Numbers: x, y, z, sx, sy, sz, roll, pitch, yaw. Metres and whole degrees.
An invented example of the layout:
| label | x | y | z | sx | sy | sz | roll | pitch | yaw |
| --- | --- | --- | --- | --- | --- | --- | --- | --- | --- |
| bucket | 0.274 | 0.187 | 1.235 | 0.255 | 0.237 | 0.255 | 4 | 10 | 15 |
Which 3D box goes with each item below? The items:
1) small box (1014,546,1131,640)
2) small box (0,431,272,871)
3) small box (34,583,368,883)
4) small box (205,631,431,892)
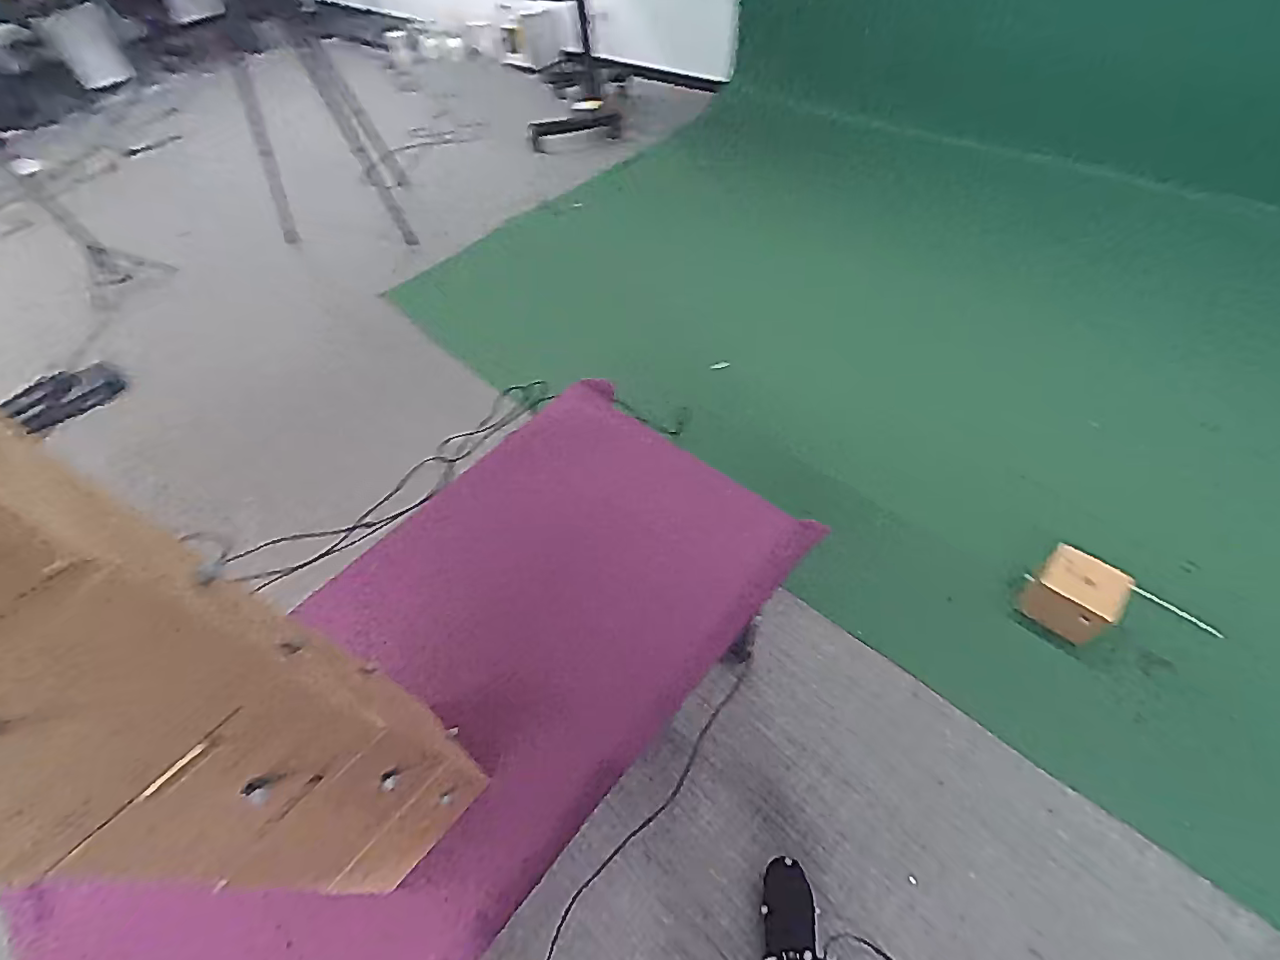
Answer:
| label | x | y | z | sx | sy | sz | roll | pitch | yaw |
| --- | --- | --- | --- | --- | --- | --- | --- | --- | --- |
| small box | 1.204 | 0.325 | 1.518 | 0.179 | 0.176 | 0.168 | 34 | 63 | 28 |
| small box | -0.392 | 0.108 | 0.343 | 0.168 | 0.176 | 0.179 | 31 | 61 | 27 |
| small box | -0.381 | 0.208 | 0.474 | 0.179 | 0.176 | 0.168 | 32 | 62 | 27 |
| small box | -0.361 | 0.309 | 0.599 | 0.168 | 0.176 | 0.179 | 33 | 63 | 27 |
